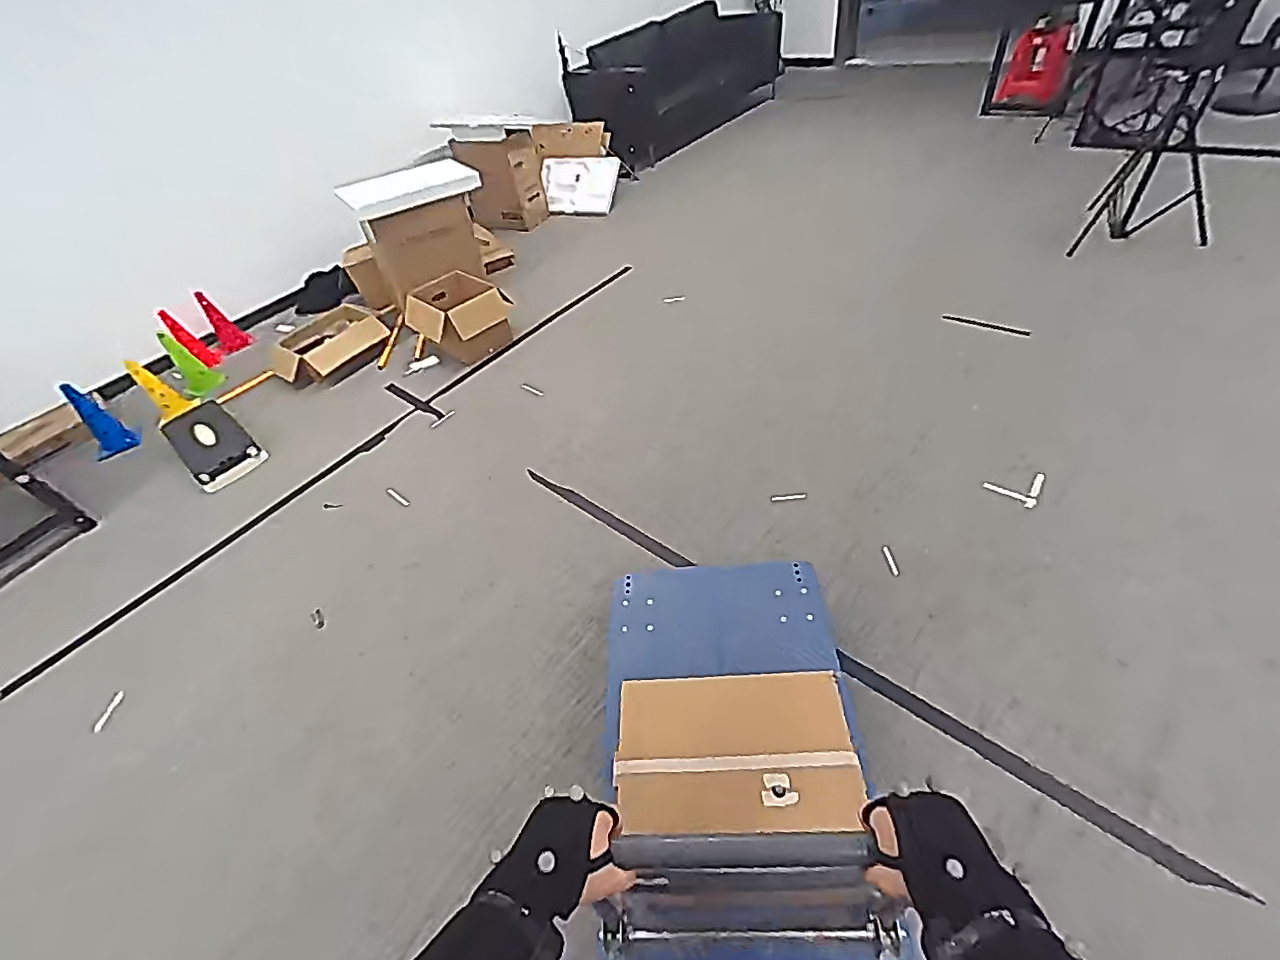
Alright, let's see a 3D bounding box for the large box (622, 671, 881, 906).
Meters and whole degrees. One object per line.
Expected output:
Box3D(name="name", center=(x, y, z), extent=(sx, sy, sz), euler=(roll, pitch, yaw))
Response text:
Box3D(name="large box", center=(0.182, 0.592, 1.034), extent=(0.408, 0.320, 0.320), euler=(-5, 45, 5))
